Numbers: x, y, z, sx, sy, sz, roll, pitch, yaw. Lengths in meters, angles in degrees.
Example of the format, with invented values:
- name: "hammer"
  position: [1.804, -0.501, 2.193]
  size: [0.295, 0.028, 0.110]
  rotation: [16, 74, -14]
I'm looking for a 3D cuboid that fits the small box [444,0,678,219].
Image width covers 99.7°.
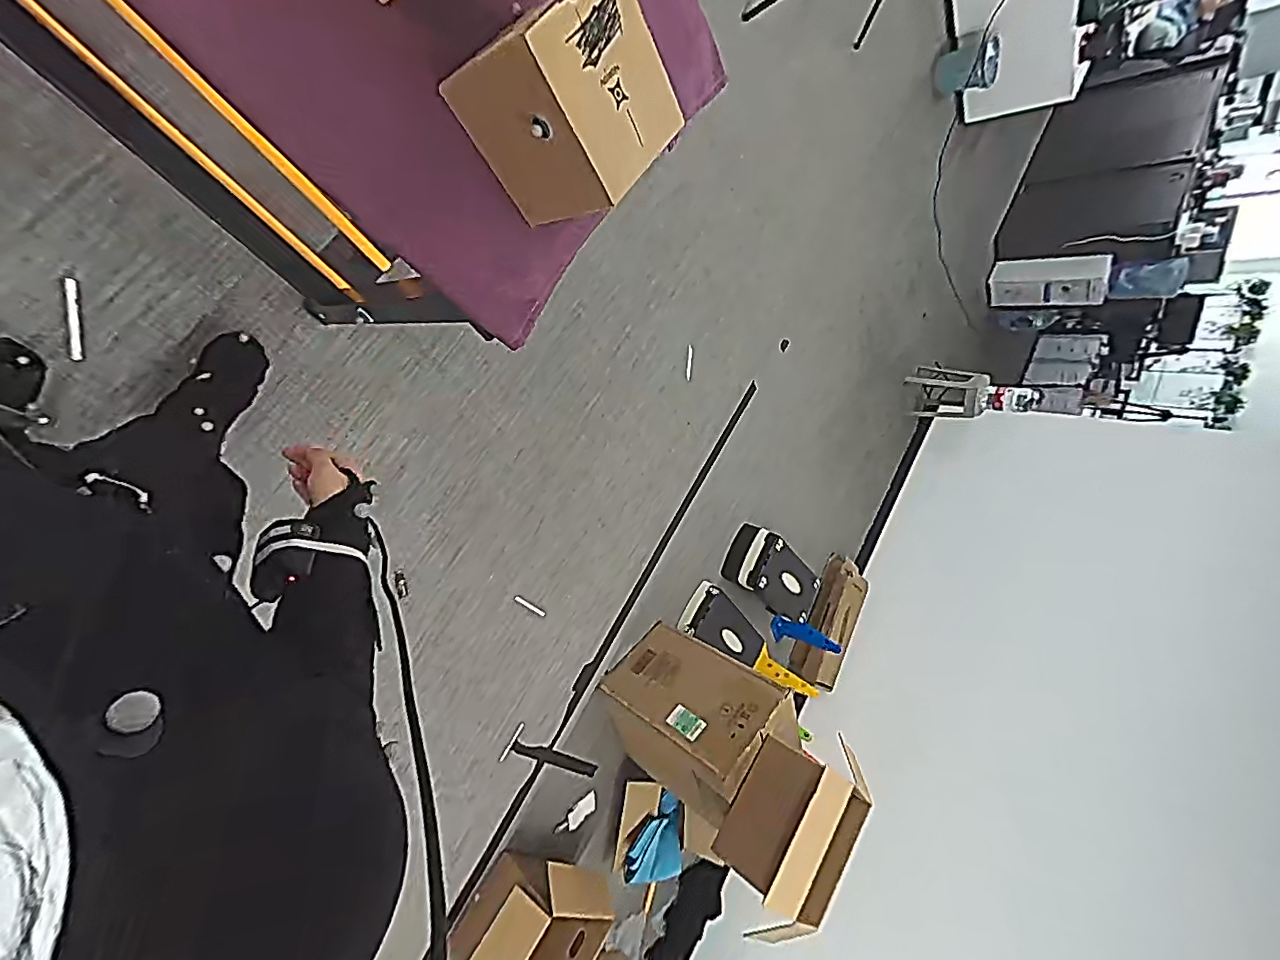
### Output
- name: "small box"
  position: [-0.092, -0.439, 0.637]
  size: [0.168, 0.176, 0.179]
  rotation: [-57, 135, -20]
